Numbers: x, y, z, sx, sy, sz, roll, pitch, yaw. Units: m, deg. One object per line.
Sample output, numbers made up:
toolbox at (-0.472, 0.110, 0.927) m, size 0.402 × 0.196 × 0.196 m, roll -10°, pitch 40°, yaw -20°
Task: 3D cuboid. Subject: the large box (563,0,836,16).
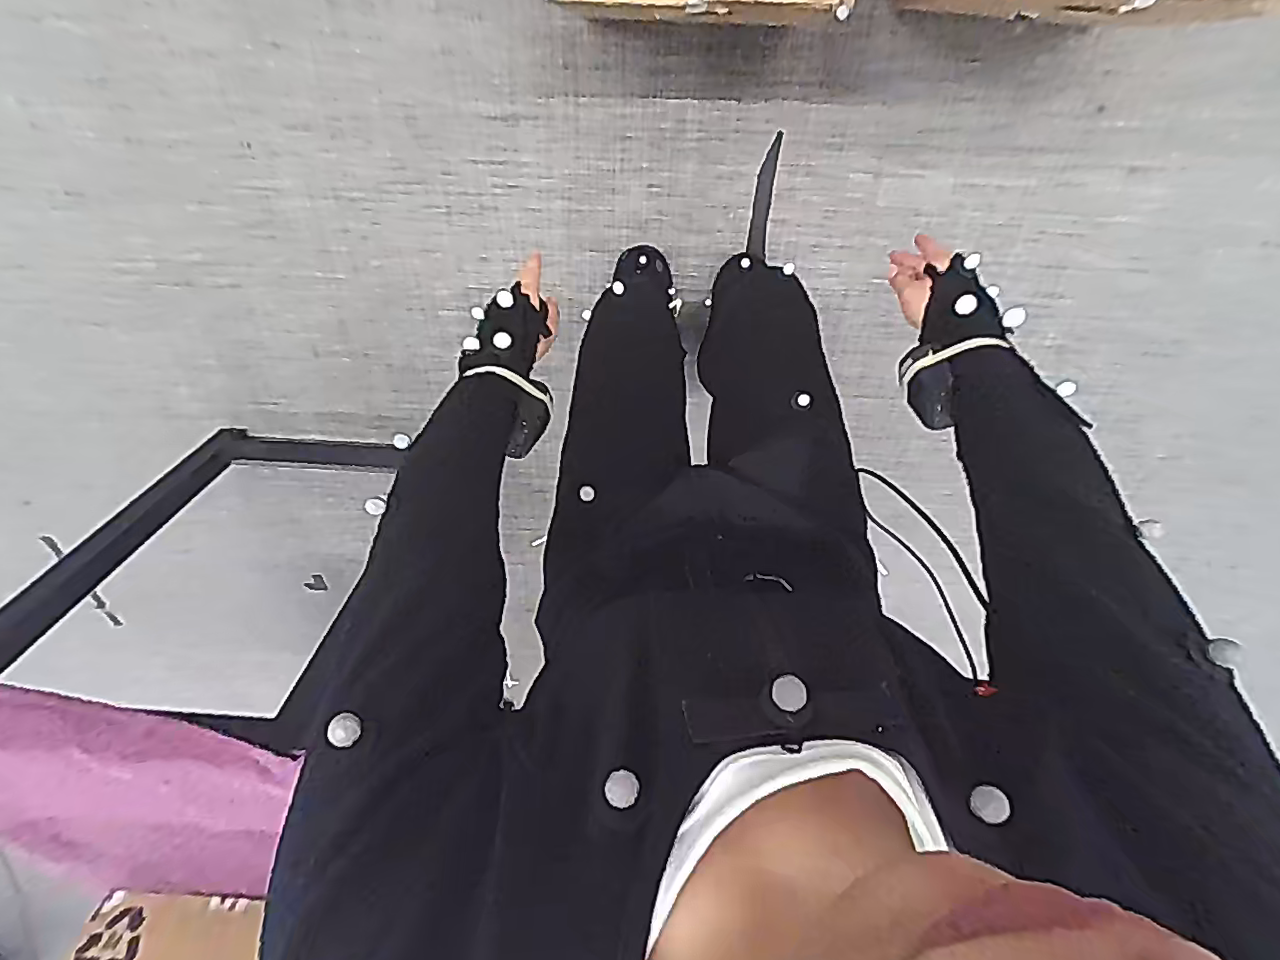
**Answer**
large box at (0.064, -0.736, 0.539) m, size 0.320 × 0.320 × 0.408 m, roll 2°, pitch 129°, yaw 2°
